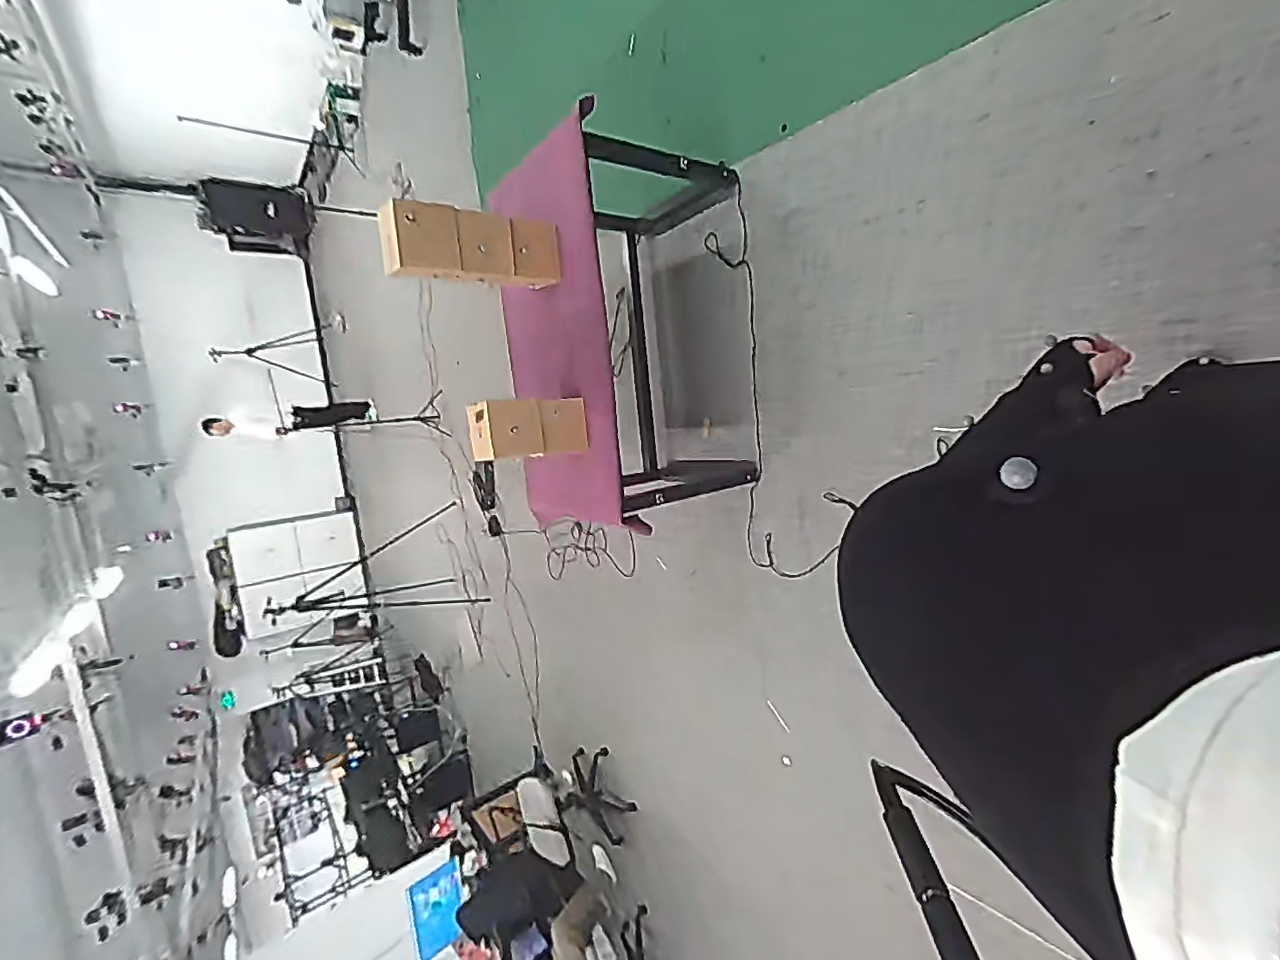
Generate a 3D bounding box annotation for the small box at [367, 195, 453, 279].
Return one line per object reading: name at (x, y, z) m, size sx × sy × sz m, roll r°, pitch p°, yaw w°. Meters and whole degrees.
small box at (-0.640, -0.668, 1.507) m, size 0.168 × 0.176 × 0.179 m, roll 11°, pitch 110°, yaw 50°

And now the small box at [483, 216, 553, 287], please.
small box at (-0.395, -0.720, 1.721) m, size 0.168 × 0.176 × 0.179 m, roll 11°, pitch 109°, yaw 50°

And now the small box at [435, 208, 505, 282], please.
small box at (-0.514, -0.692, 1.612) m, size 0.168 × 0.176 × 0.179 m, roll 11°, pitch 110°, yaw 49°

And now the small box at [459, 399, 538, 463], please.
small box at (-0.430, -0.151, 1.645) m, size 0.168 × 0.176 × 0.179 m, roll 0°, pitch 99°, yaw 52°
